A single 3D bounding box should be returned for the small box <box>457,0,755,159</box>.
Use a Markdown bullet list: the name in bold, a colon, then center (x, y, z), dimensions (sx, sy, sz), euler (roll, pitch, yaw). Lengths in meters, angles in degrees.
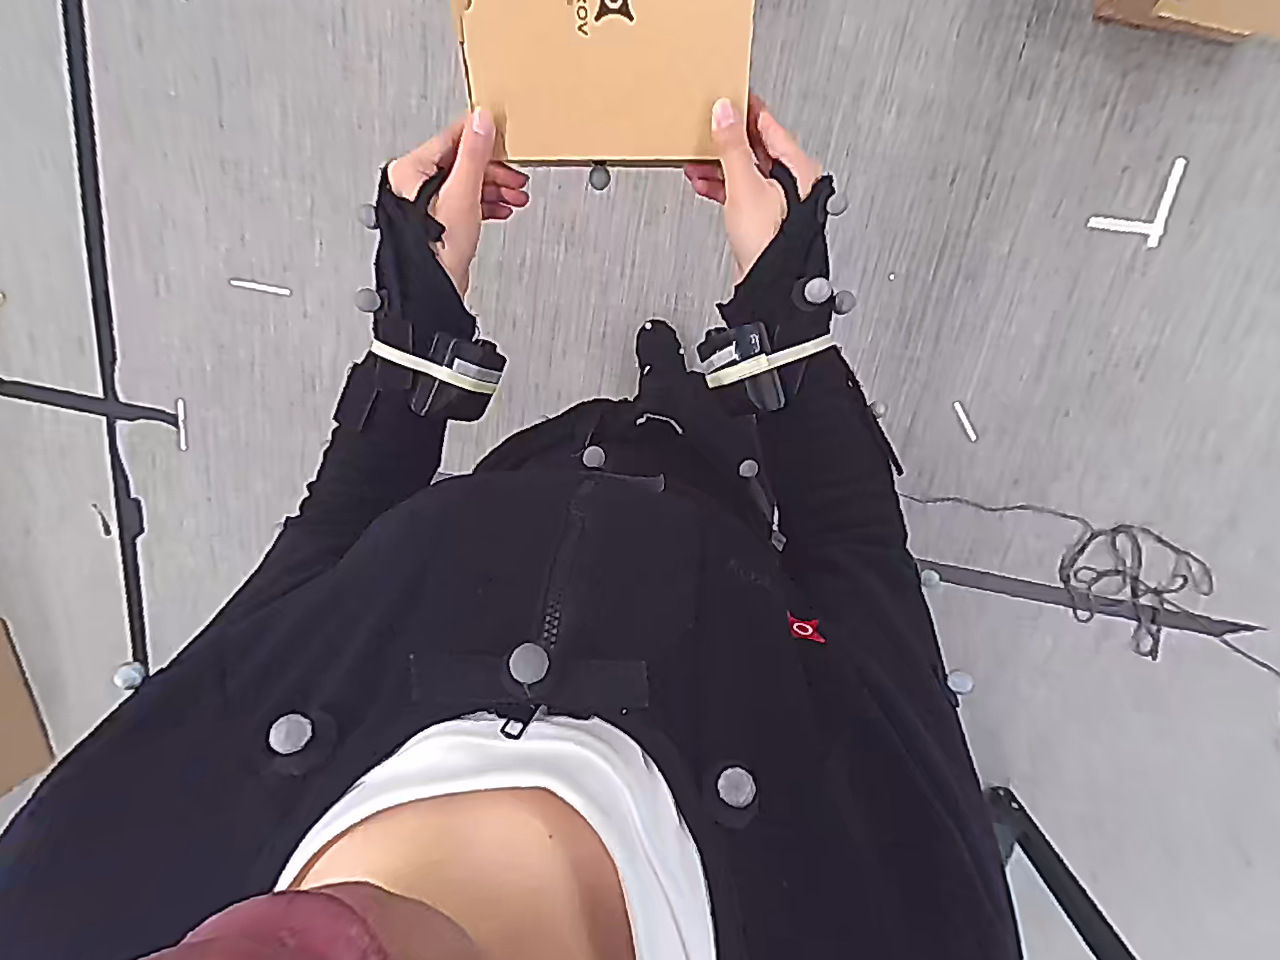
- **small box**: center (-0.021, -0.324, 0.379), dimensions (0.179, 0.176, 0.168), euler (0, 119, -1)
